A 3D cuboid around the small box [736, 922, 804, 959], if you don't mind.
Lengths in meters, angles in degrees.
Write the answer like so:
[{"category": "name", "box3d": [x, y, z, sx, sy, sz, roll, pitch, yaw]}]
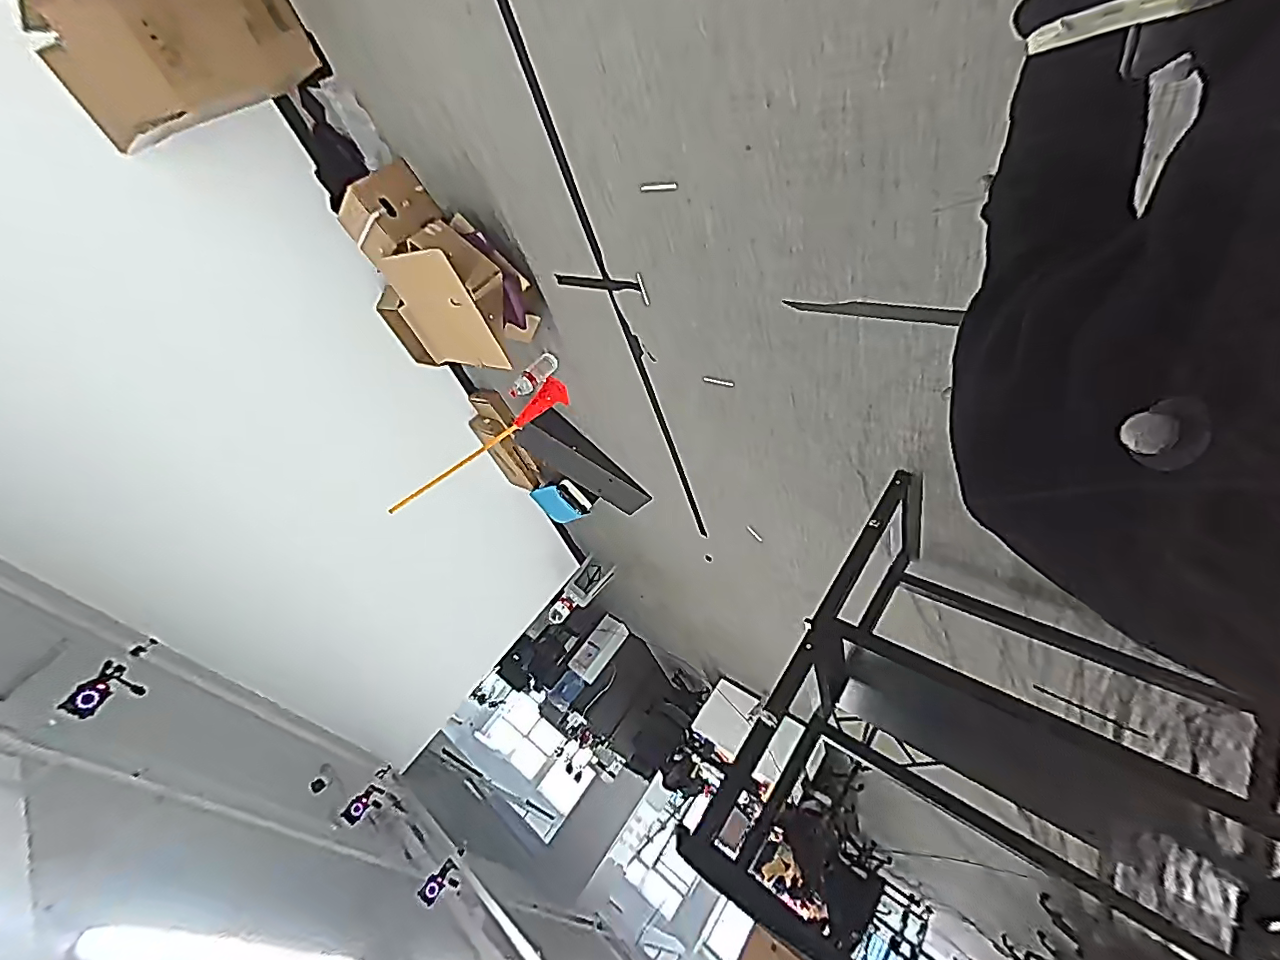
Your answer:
[{"category": "small box", "box3d": [0.312, 1.185, 1.266, 0.168, 0.176, 0.179, 20, 149, 36]}]
